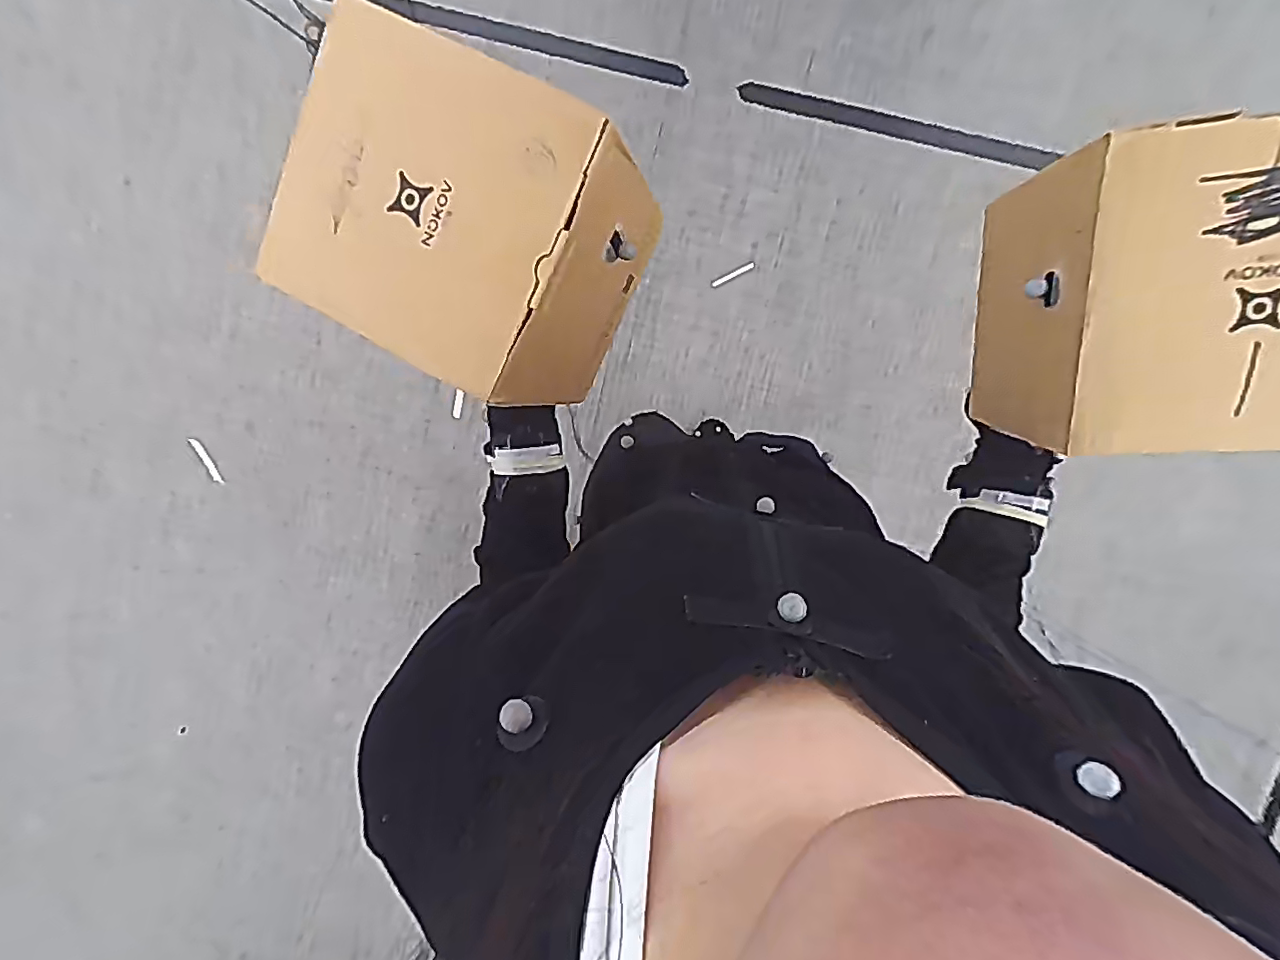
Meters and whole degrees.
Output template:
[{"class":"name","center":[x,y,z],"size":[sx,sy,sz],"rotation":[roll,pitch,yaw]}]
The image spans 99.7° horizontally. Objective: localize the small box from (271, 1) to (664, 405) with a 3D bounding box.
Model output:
[{"class":"small box","center":[-0.101,-0.166,0.383],"size":[0.179,0.176,0.168],"rotation":[29,103,8]}]

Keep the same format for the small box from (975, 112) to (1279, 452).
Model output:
[{"class":"small box","center":[0.350,-0.120,0.366],"size":[0.168,0.176,0.179],"rotation":[-1,104,14]}]
